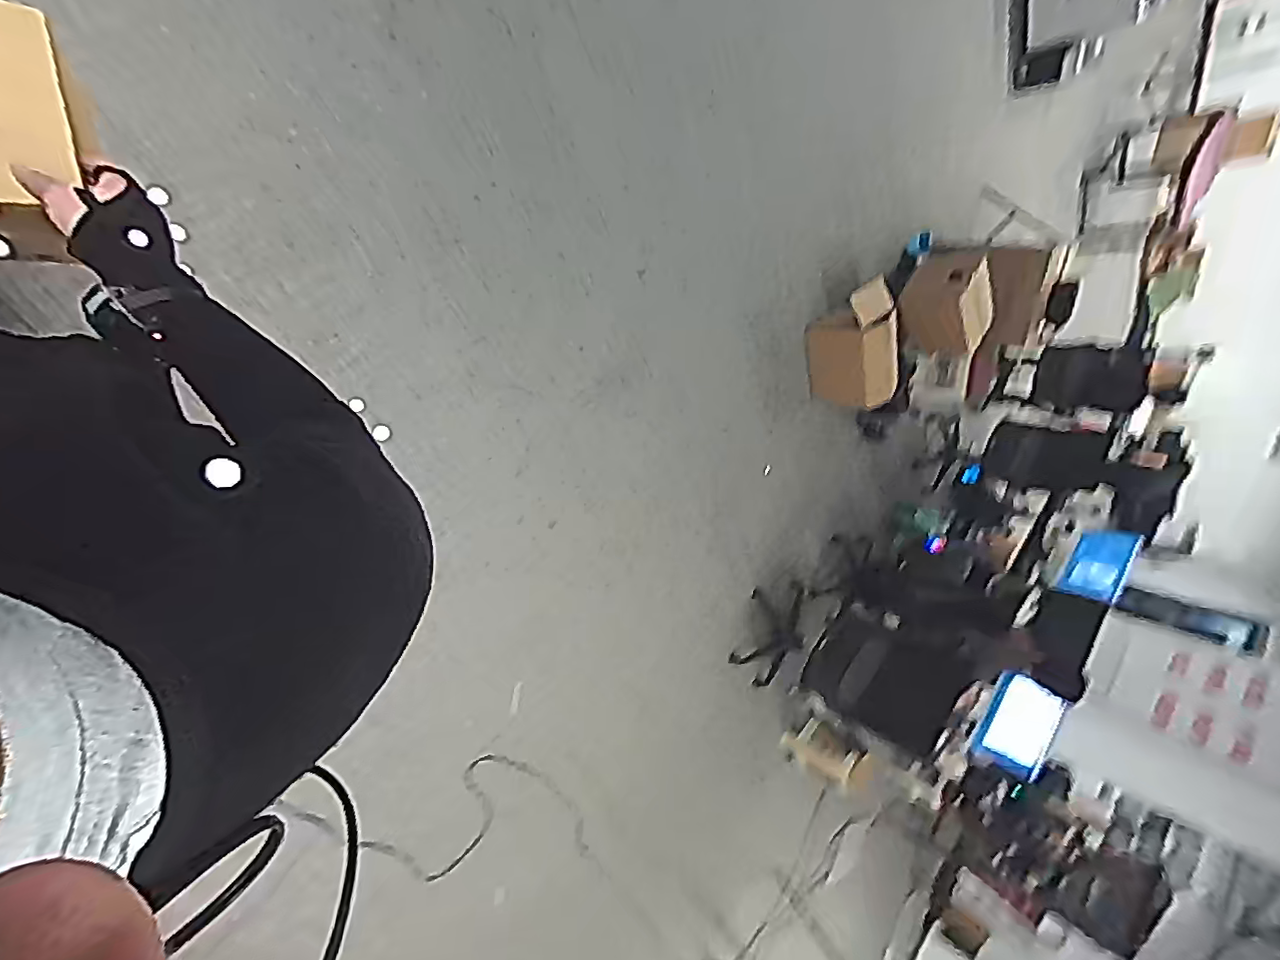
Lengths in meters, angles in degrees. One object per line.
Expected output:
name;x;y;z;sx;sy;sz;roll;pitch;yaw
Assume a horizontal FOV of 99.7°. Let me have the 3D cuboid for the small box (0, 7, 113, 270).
small box;-0.622;-0.303;0.492;0.168;0.176;0.179;-11;98;-35
